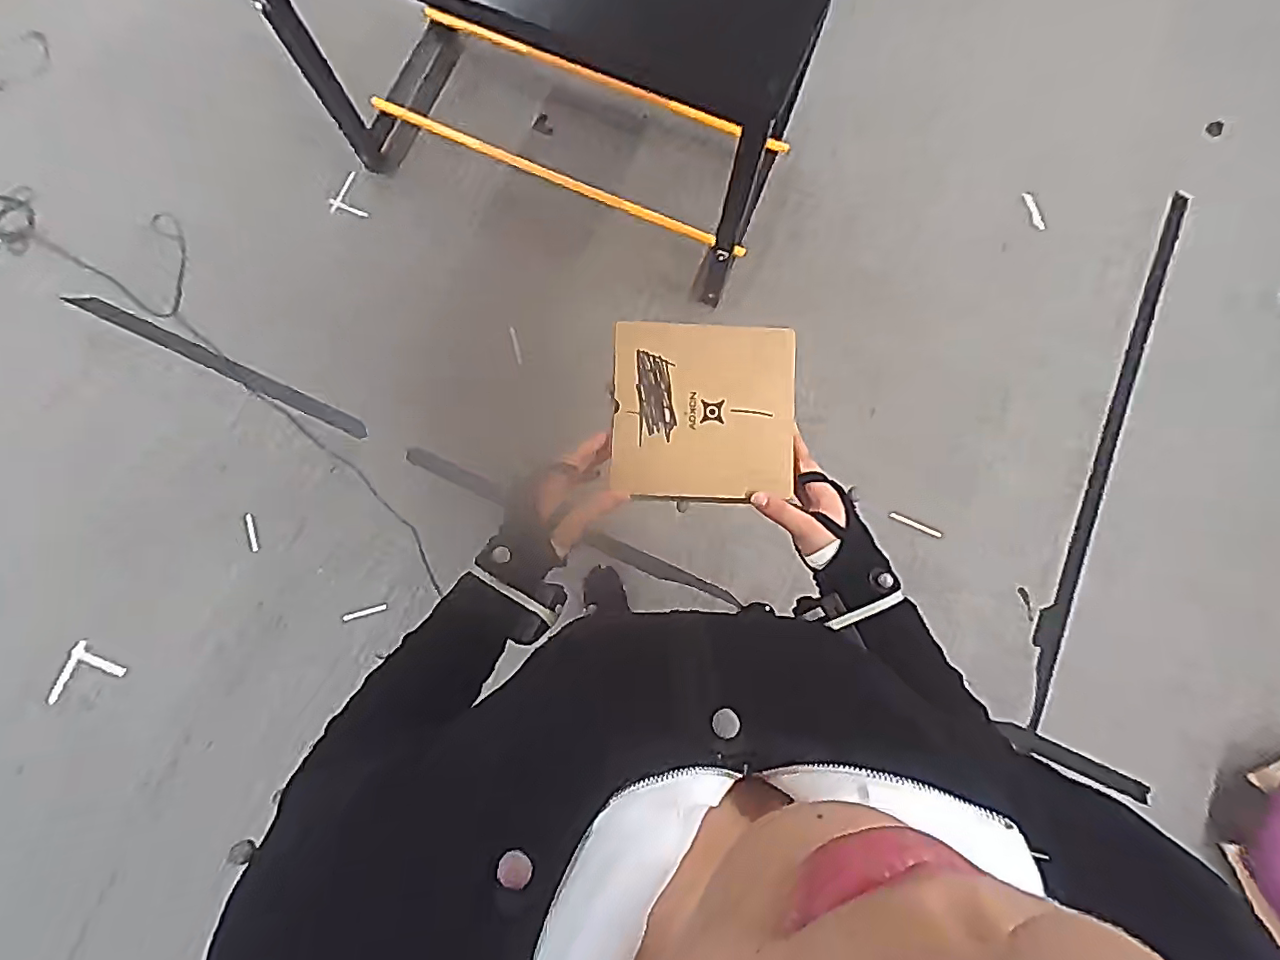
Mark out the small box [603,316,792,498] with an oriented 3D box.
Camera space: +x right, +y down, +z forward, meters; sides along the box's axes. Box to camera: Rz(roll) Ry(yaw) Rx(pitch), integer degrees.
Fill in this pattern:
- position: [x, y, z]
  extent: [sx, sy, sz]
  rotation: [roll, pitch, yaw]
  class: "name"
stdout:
- position: [0.052, -0.066, 0.587]
  extent: [0.179, 0.176, 0.168]
  rotation: [2, 87, -3]
  class: "small box"
